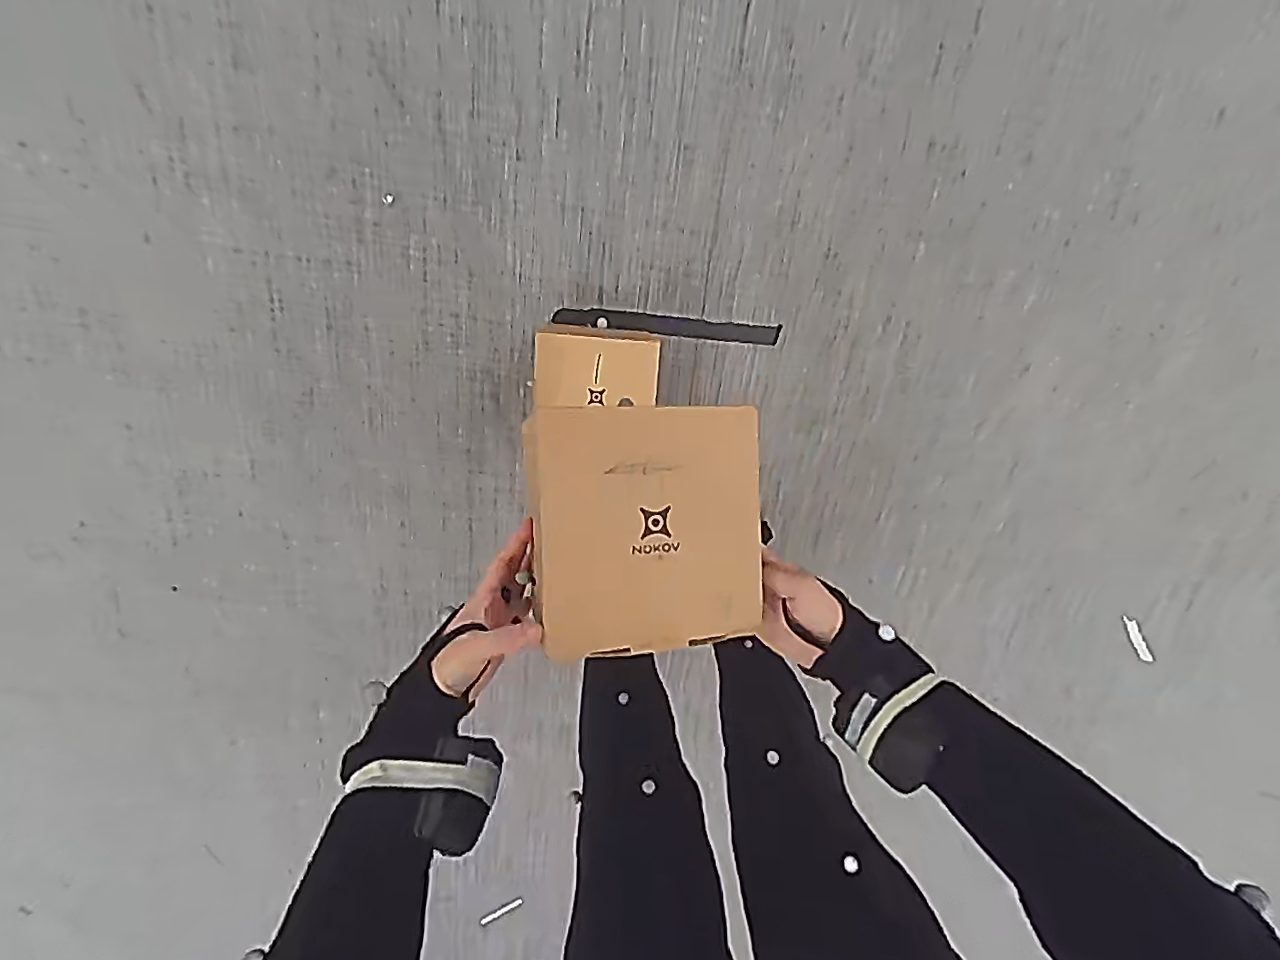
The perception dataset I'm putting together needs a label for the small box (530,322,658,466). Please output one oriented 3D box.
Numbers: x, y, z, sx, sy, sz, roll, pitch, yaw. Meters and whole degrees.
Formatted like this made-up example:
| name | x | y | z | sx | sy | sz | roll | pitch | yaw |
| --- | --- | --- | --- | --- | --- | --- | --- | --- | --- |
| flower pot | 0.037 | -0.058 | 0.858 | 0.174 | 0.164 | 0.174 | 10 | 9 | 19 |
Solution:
| name | x | y | z | sx | sy | sz | roll | pitch | yaw |
| --- | --- | --- | --- | --- | --- | --- | --- | --- | --- |
| small box | -0.071 | -0.134 | 0.806 | 0.168 | 0.176 | 0.179 | 3 | 110 | -7 |
